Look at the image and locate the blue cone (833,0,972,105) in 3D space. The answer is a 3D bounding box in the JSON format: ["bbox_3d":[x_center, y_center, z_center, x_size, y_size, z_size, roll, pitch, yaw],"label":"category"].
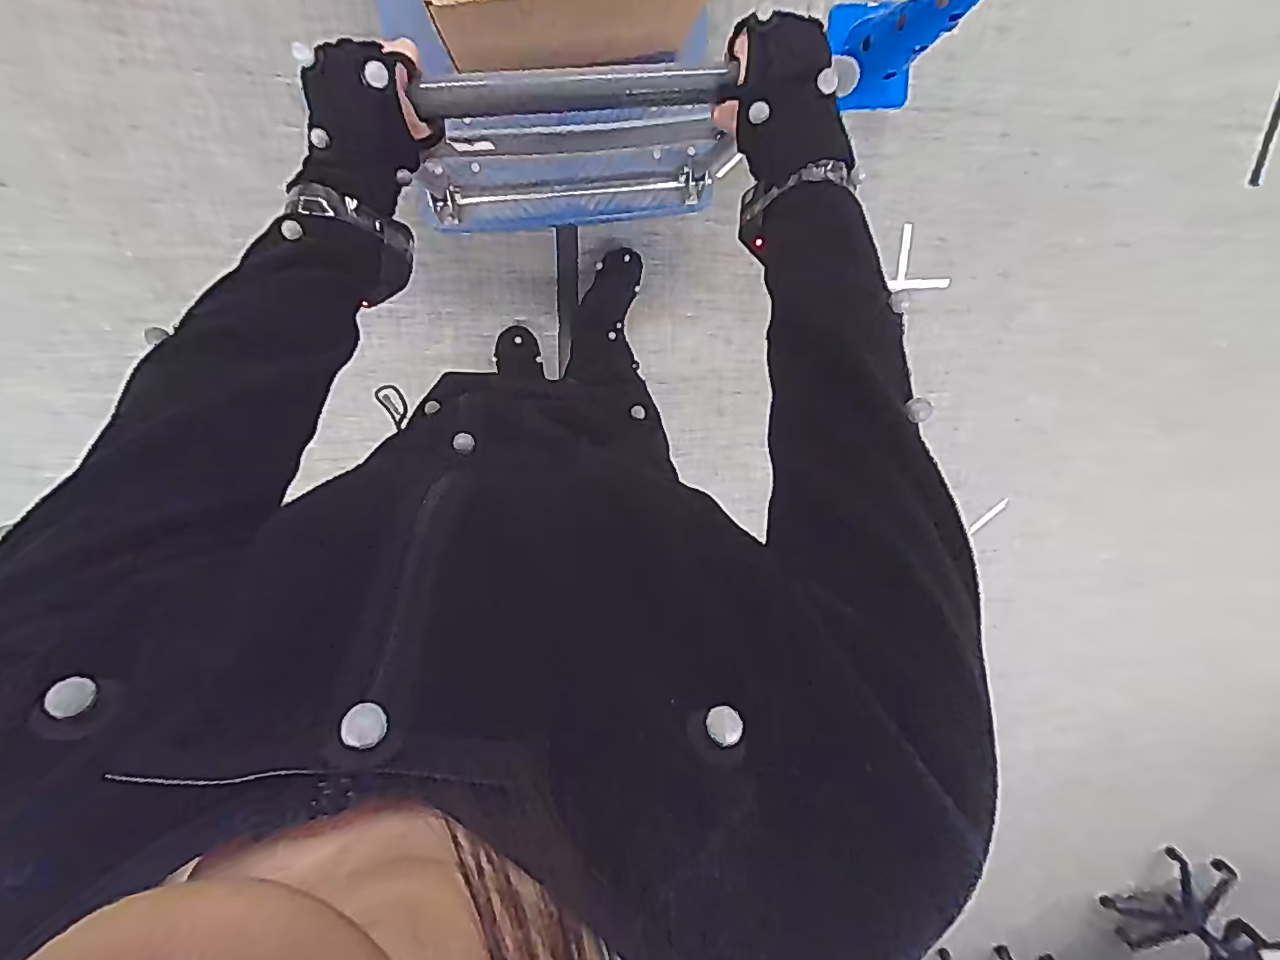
[{"bbox_3d":[0.548,-0.899,1.061,0.193,0.380,0.192,-6,110,-7],"label":"blue cone"}]
